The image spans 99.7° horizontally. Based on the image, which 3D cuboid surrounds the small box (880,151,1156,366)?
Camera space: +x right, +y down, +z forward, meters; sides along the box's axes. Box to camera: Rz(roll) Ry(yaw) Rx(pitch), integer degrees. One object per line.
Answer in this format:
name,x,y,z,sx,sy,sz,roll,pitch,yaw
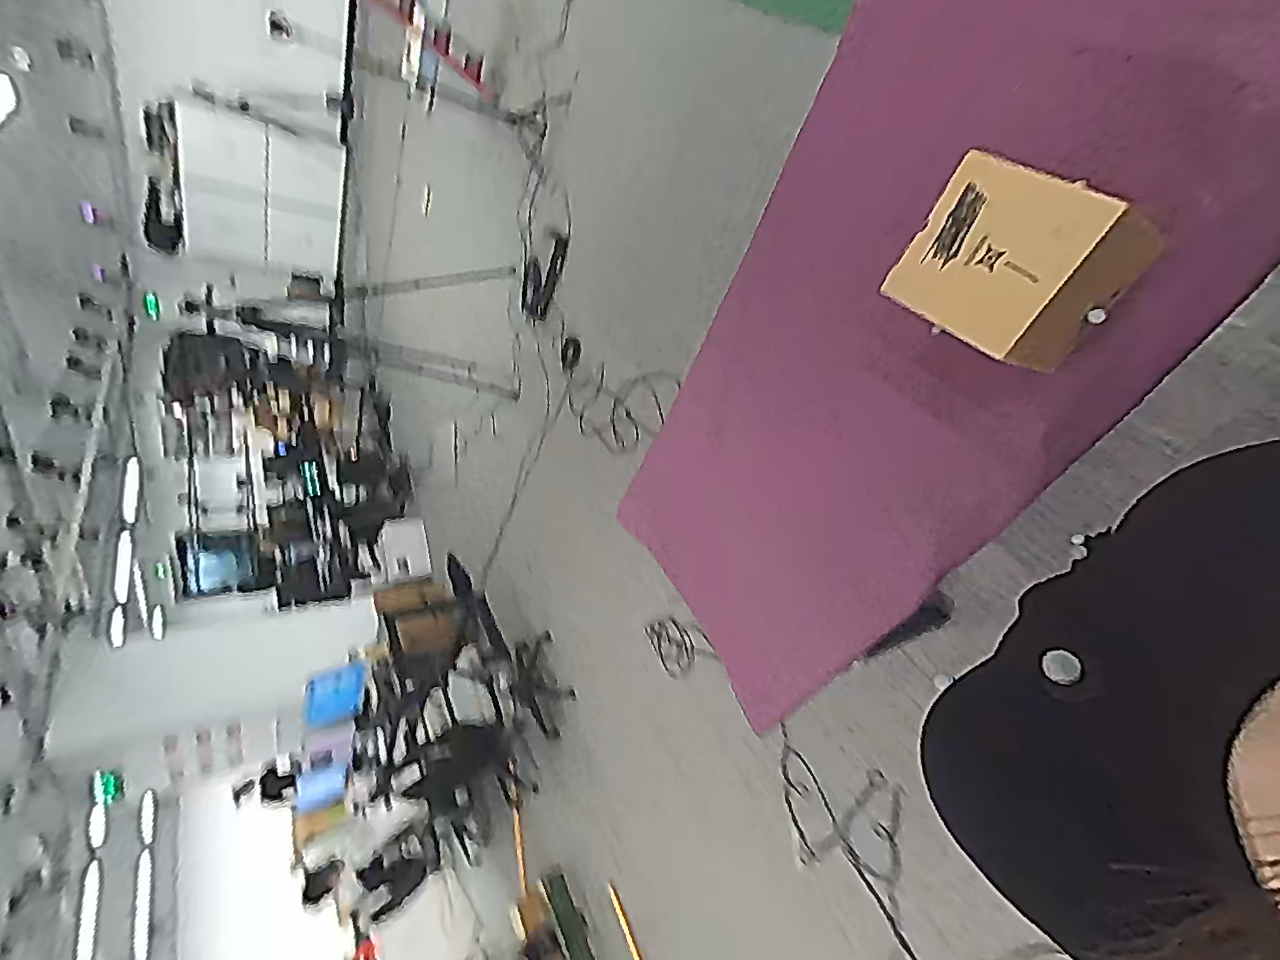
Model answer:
small box,0.433,-0.246,0.630,0.179,0.176,0.168,53,131,36
